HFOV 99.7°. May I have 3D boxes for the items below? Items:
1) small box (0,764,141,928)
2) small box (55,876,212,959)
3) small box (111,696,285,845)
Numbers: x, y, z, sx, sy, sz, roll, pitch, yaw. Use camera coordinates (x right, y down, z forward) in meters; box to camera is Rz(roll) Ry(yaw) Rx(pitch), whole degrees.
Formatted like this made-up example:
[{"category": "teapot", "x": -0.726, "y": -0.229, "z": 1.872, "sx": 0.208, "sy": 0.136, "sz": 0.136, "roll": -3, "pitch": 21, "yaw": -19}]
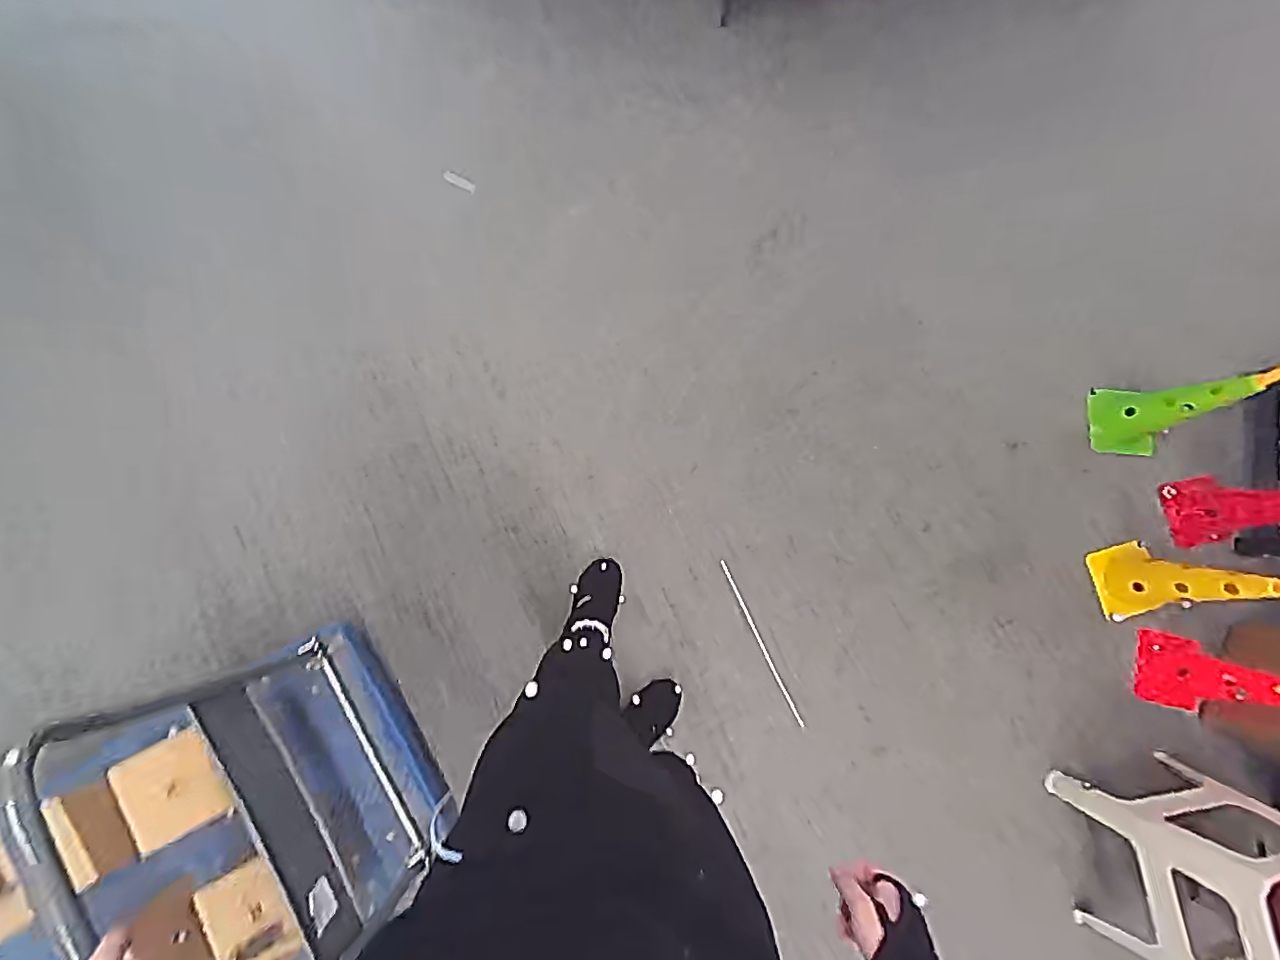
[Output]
[{"category": "small box", "x": -1.065, "y": 0.664, "z": 1.011, "sx": 0.179, "sy": 0.176, "sz": 0.168, "roll": -31, "pitch": 86, "yaw": -10}, {"category": "small box", "x": -0.939, "y": 0.885, "z": 0.990, "sx": 0.179, "sy": 0.176, "sz": 0.168, "roll": -32, "pitch": 85, "yaw": -10}, {"category": "small box", "x": -0.847, "y": 0.552, "z": 1.055, "sx": 0.179, "sy": 0.176, "sz": 0.168, "roll": -27, "pitch": 85, "yaw": -10}]
